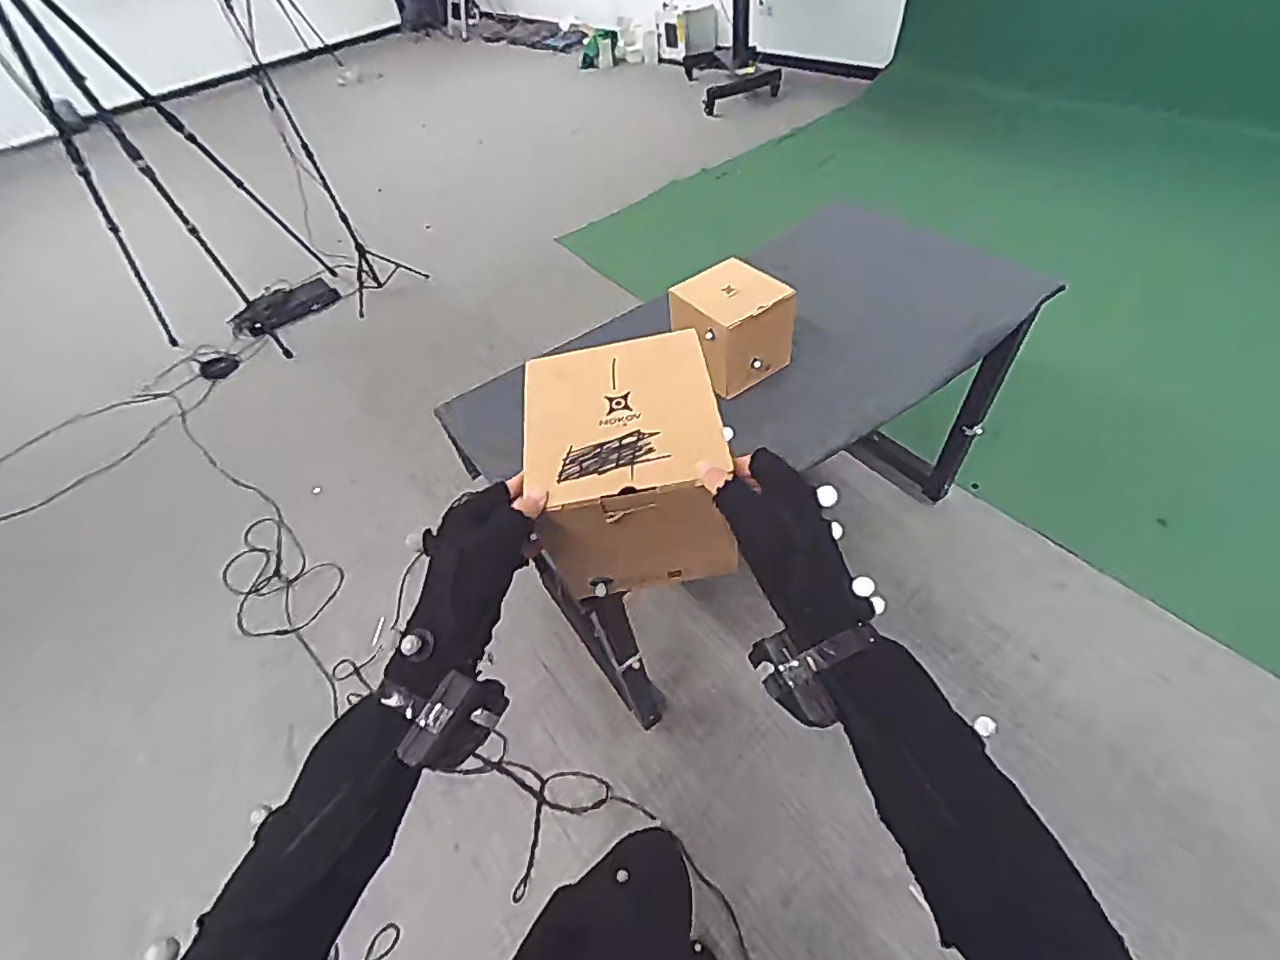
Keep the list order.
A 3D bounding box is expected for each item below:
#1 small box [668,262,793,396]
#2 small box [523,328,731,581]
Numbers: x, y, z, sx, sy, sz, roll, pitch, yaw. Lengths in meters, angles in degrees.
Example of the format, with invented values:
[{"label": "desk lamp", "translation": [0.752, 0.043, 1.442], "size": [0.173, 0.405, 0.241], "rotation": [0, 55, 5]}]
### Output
[{"label": "small box", "translation": [0.174, -0.296, 1.067], "size": [0.168, 0.176, 0.179], "rotation": [-32, 53, -17]}, {"label": "small box", "translation": [-0.008, -0.015, 0.532], "size": [0.168, 0.176, 0.179], "rotation": [-11, 53, 3]}]
